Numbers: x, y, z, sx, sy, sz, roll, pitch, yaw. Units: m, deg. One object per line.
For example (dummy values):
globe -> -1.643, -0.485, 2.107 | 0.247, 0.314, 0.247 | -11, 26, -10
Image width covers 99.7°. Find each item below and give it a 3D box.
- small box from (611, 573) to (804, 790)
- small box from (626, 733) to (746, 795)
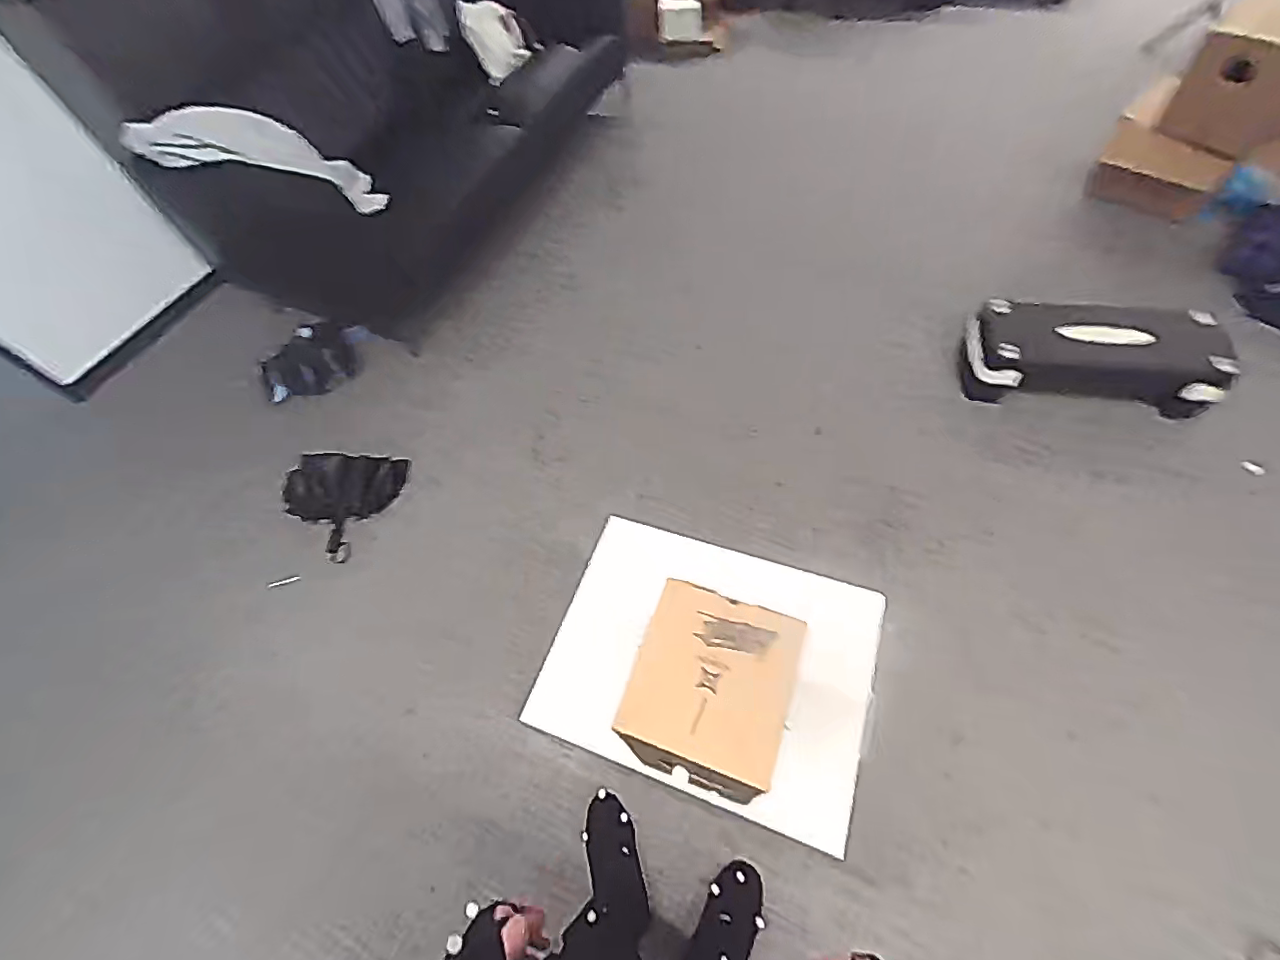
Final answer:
small box -> 0.081, 0.243, 0.643 | 0.168, 0.176, 0.179 | 17, 62, 16
small box -> 0.094, 0.332, 0.781 | 0.168, 0.176, 0.179 | 16, 59, 15
